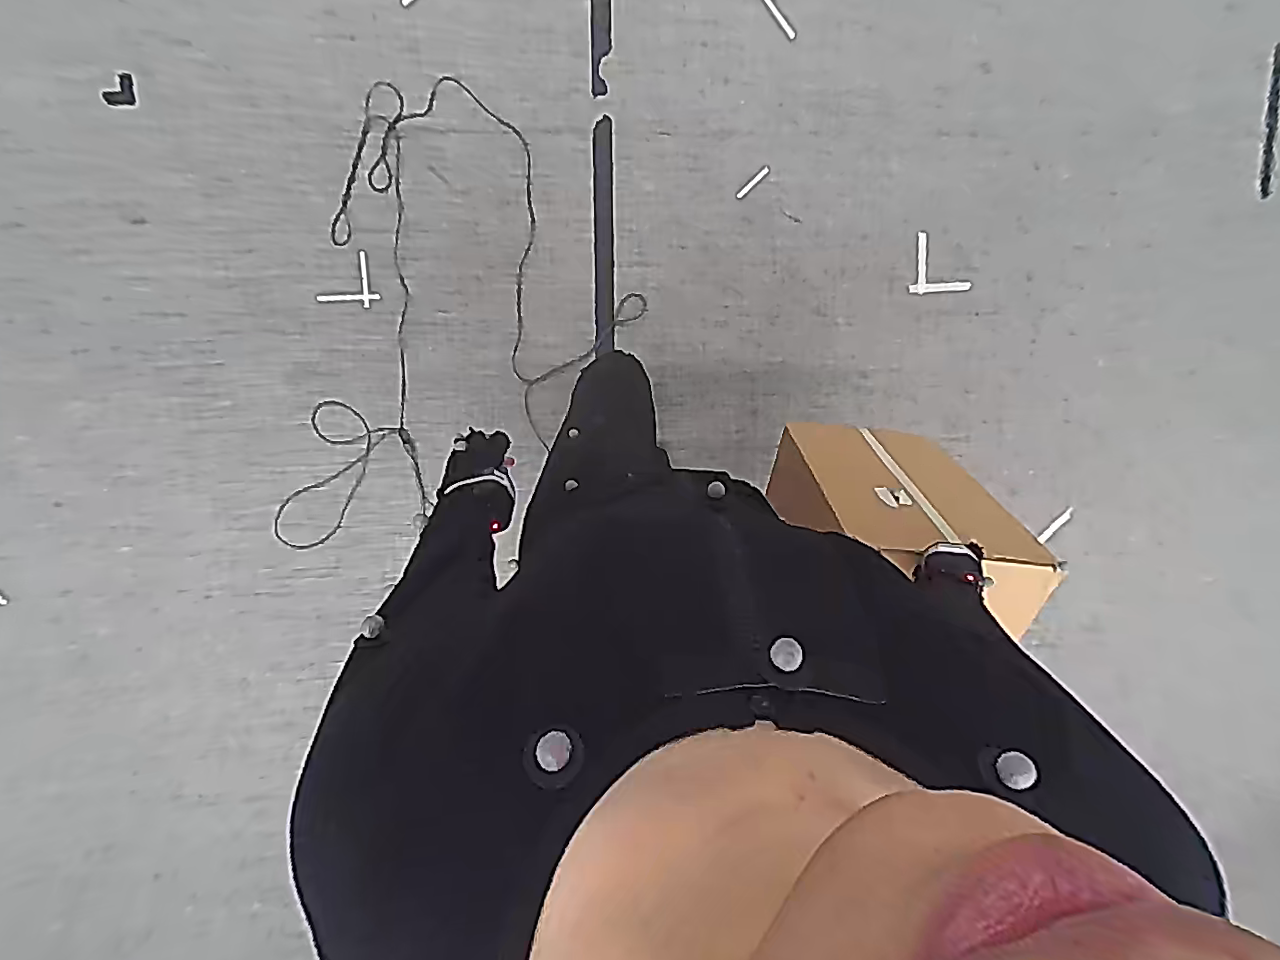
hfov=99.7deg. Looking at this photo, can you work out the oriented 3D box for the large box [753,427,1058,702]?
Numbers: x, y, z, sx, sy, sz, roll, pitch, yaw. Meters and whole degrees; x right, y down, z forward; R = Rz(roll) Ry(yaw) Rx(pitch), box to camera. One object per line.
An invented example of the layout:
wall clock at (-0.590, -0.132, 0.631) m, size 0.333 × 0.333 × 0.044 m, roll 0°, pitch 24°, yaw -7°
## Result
large box at (0.429, 0.140, 1.010) m, size 0.320 × 0.408 × 0.320 m, roll 5°, pitch 122°, yaw -4°
